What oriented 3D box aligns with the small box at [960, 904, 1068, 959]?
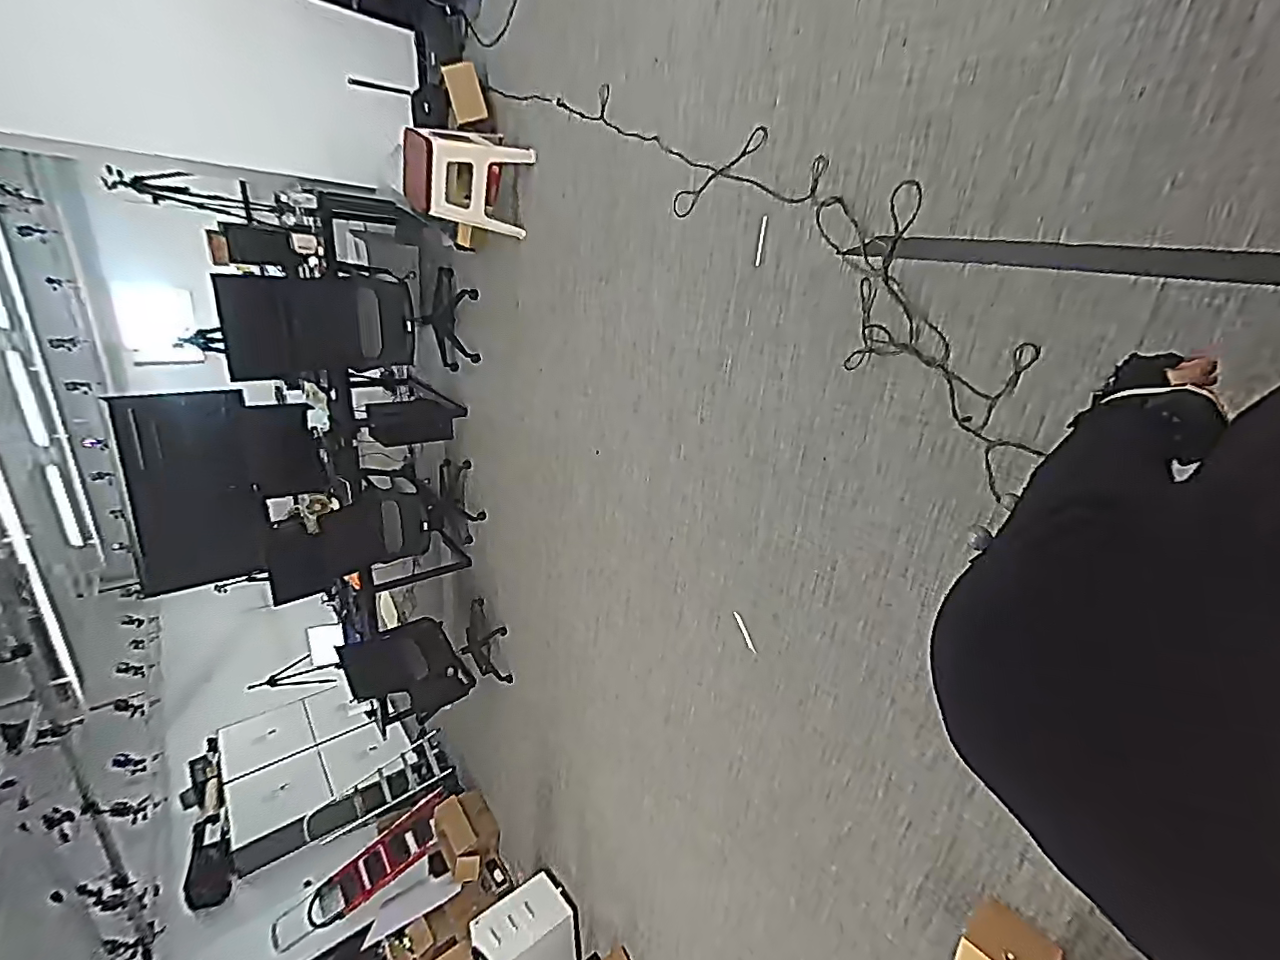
[{"bbox_3d":[0.933,1.224,1.360,0.179,0.176,0.168,22,117,46],"label":"small box"}]
